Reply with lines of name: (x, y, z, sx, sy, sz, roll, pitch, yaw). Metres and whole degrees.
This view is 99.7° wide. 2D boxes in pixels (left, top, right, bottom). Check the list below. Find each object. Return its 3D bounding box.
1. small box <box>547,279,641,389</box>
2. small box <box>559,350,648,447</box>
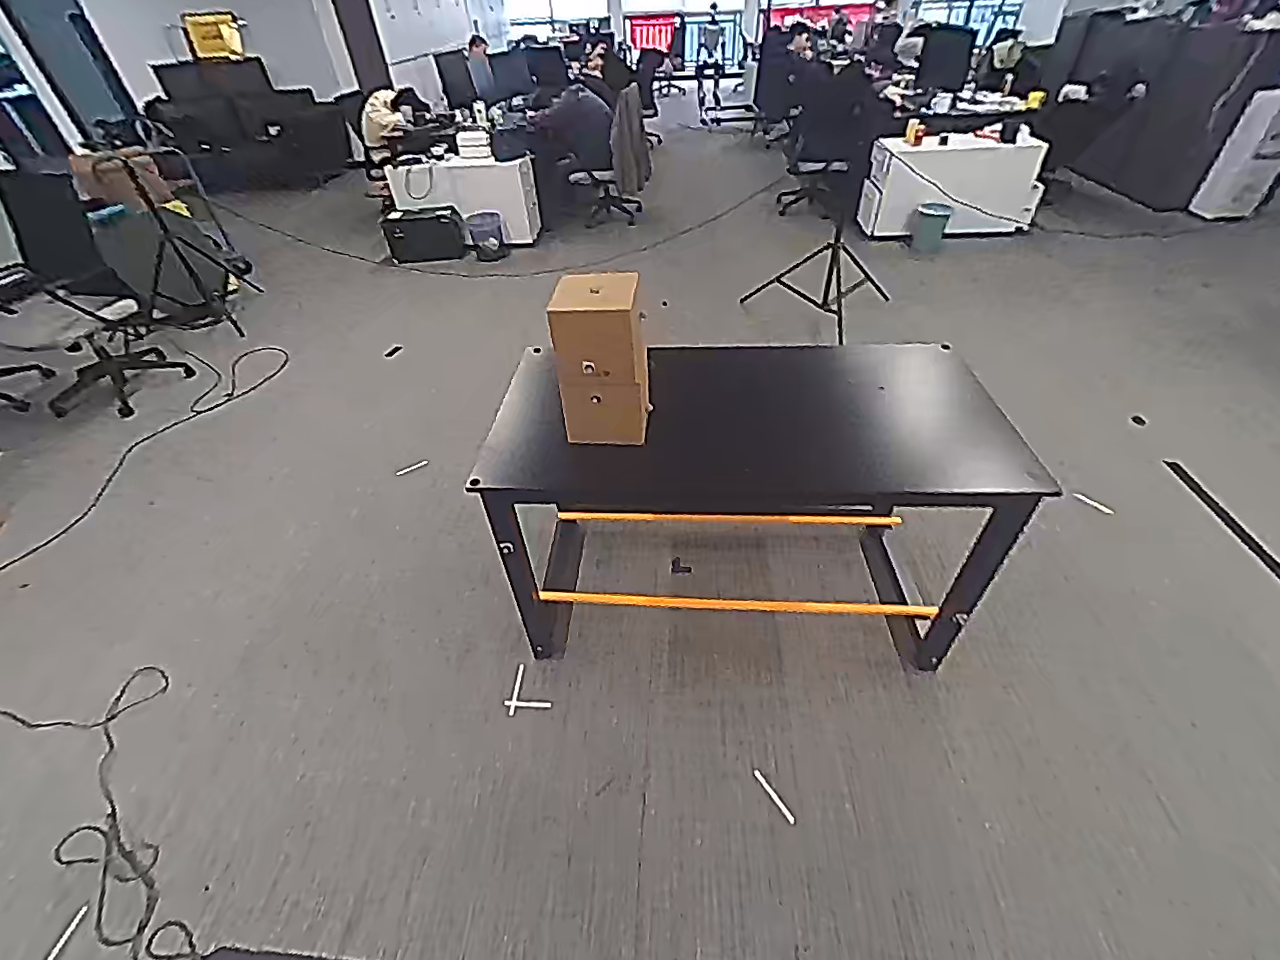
small box: (-0.087, -0.310, 1.144, 0.168, 0.176, 0.179, 0, 43, 6)
small box: (-0.077, -0.190, 1.253, 0.179, 0.176, 0.168, 2, 42, 5)
